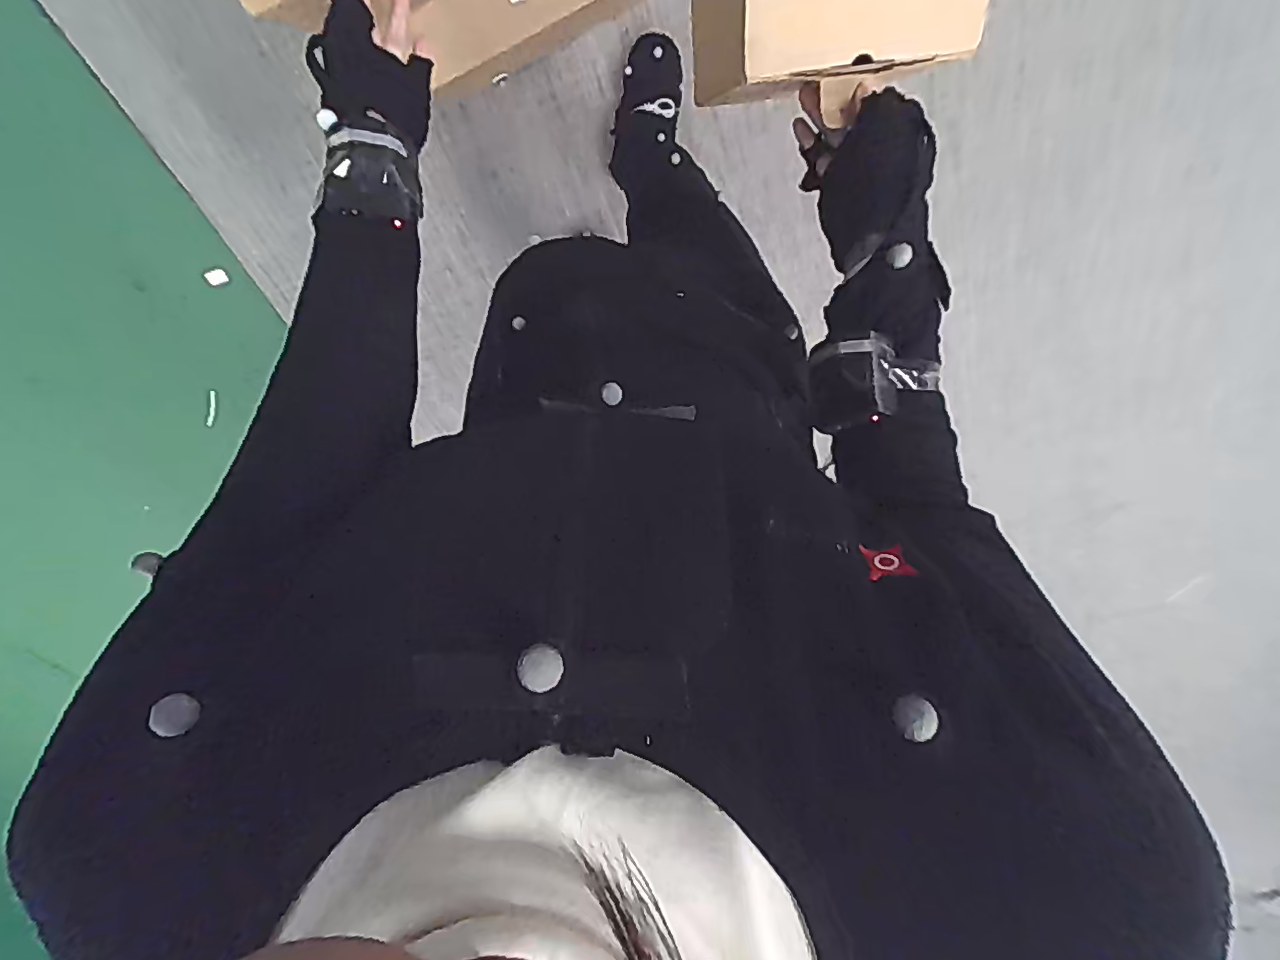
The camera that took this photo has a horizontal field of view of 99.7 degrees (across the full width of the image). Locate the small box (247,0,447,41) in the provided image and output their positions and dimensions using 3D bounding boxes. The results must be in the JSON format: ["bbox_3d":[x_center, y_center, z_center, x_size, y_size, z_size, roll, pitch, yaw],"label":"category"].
[{"bbox_3d":[-0.250,-0.494,0.440,0.168,0.176,0.179,-16,120,16],"label":"small box"}]
